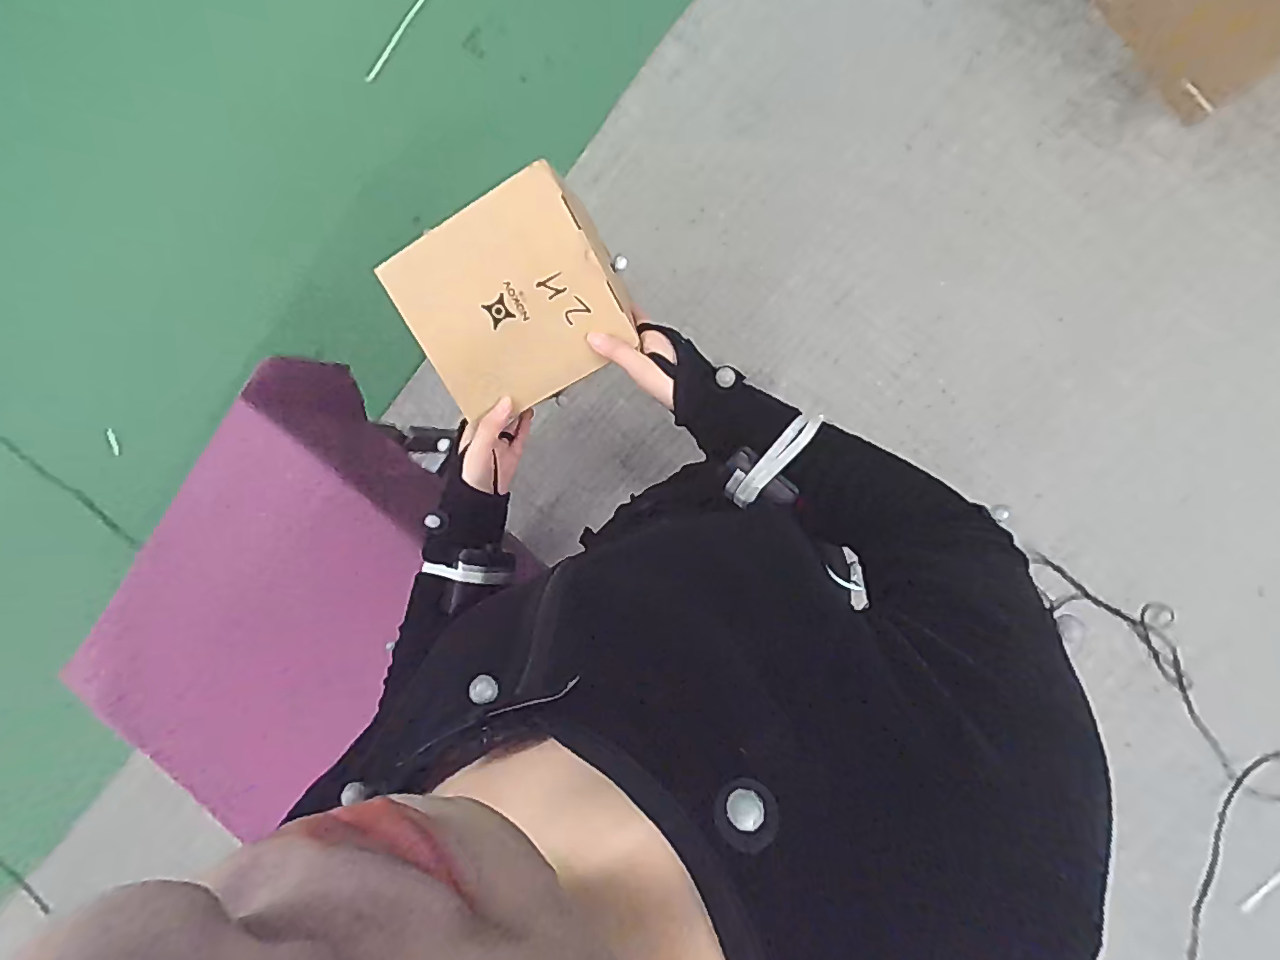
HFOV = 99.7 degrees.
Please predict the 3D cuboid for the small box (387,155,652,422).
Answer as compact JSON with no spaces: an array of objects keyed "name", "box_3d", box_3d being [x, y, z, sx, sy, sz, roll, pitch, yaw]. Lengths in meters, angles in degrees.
[{"name":"small box","box_3d":[-0.101,-0.179,0.541,0.179,0.176,0.168,-25,104,12]}]
